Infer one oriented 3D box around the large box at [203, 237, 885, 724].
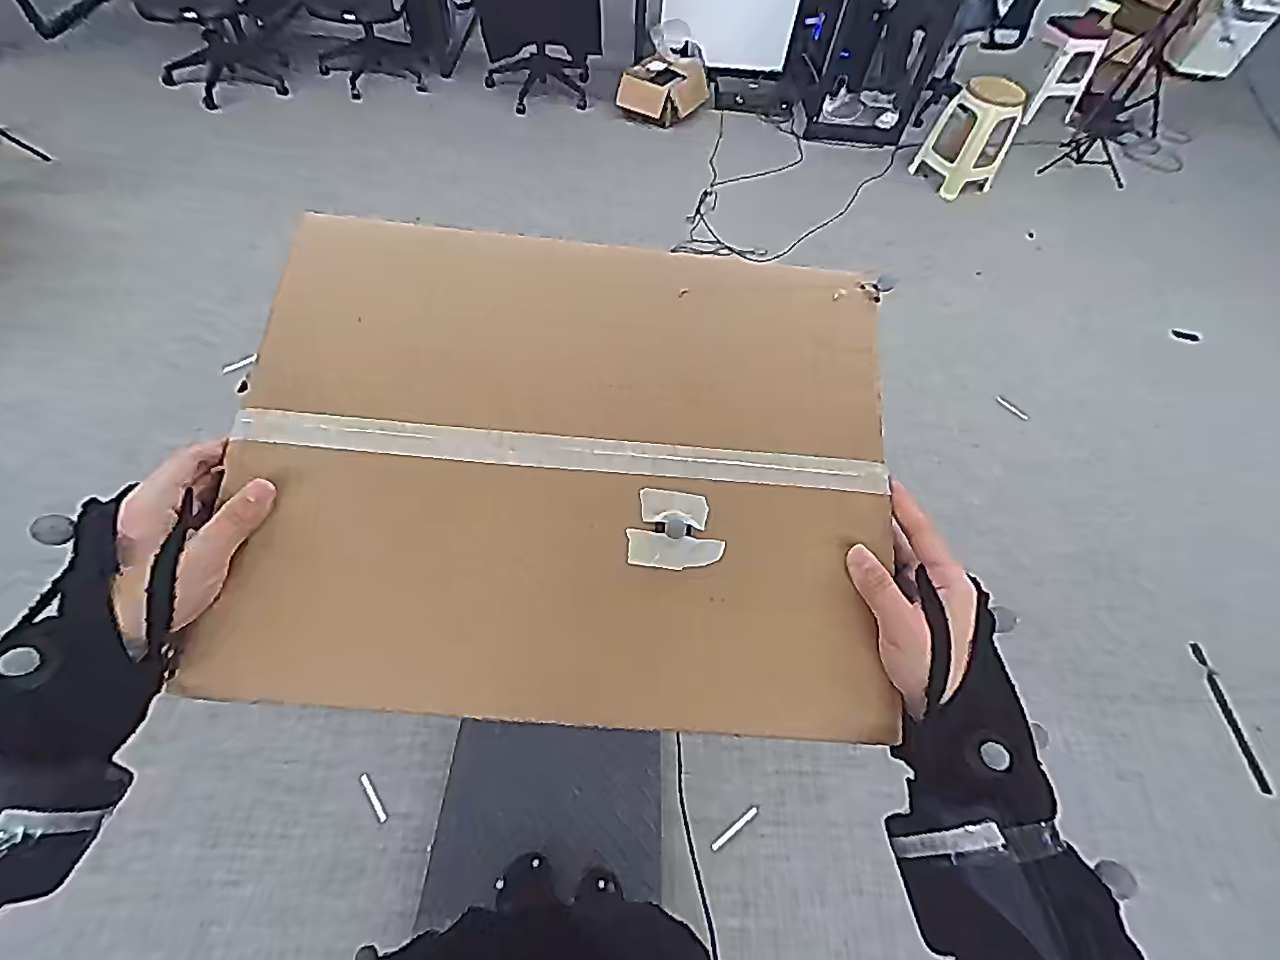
[{"bbox_3d":[-0.053,0.027,0.497,0.408,0.320,0.320,5,74,-3],"label":"large box"}]
